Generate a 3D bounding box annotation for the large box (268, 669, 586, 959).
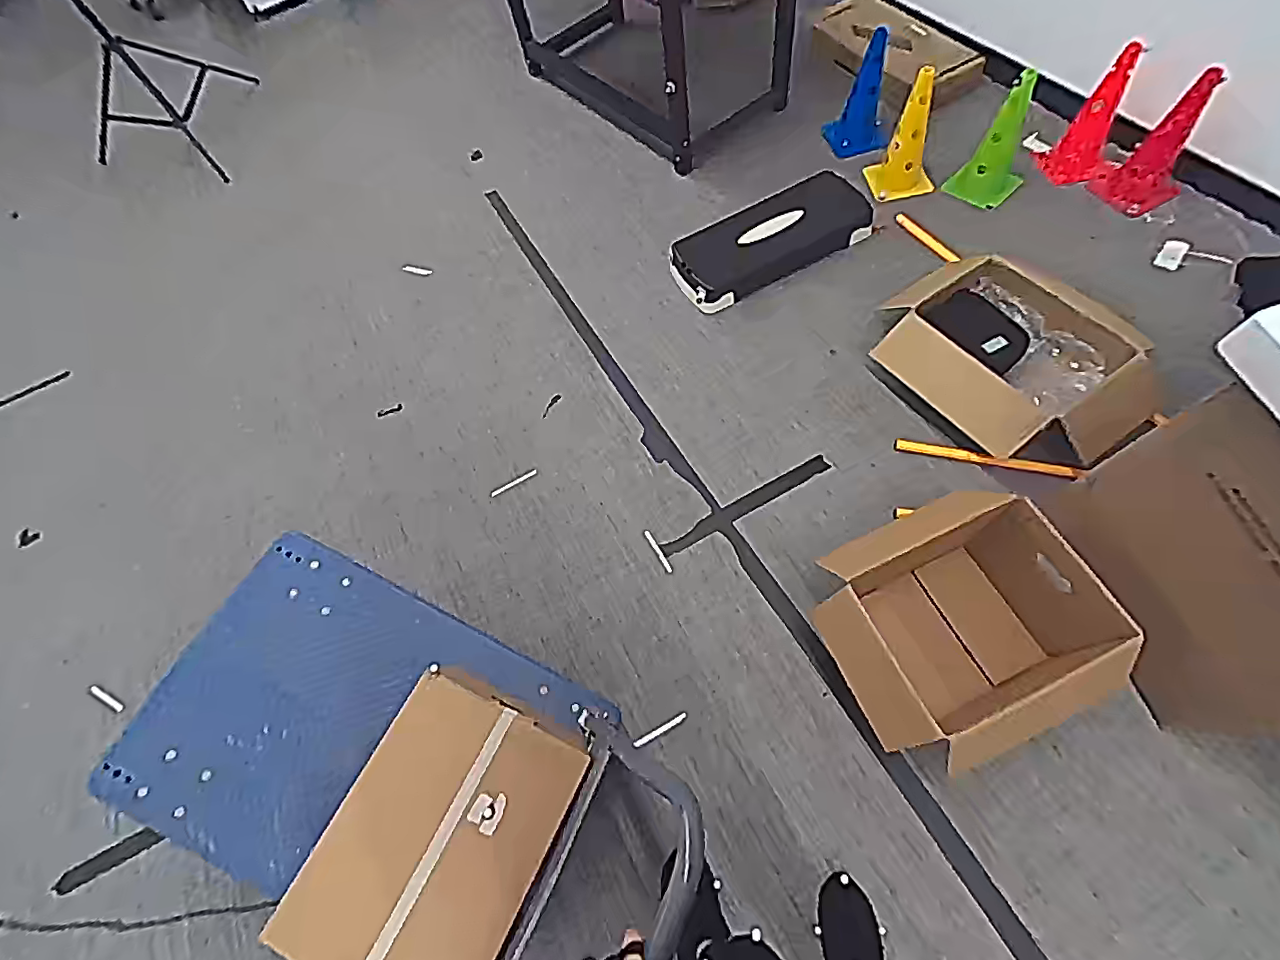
[{"bbox_3d":[-0.332,0.600,0.966,0.320,0.320,0.408,29,68,0],"label":"large box"}]
